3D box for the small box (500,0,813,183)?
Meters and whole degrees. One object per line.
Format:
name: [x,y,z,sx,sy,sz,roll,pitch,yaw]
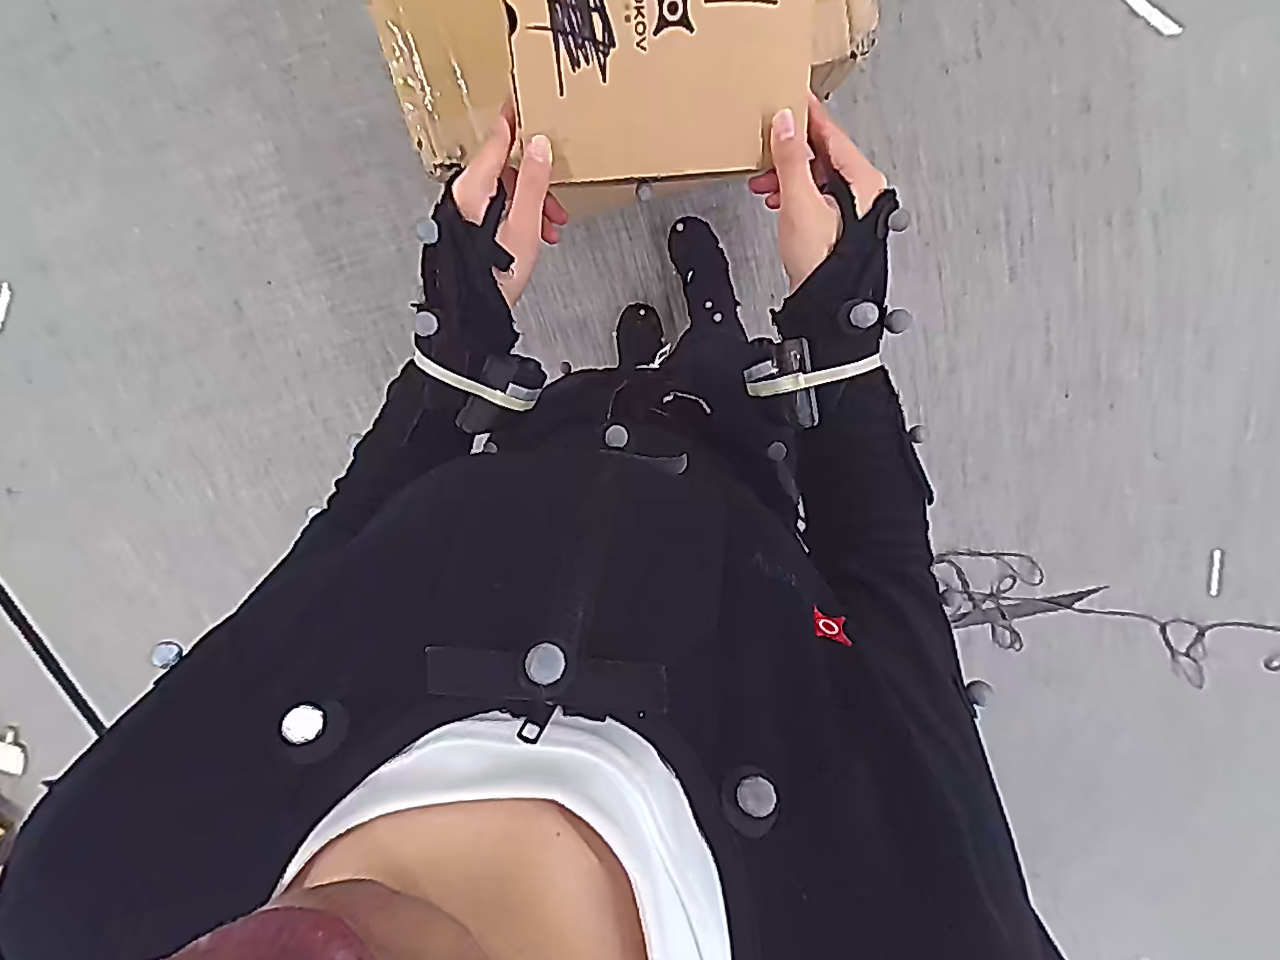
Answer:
small box: [0.010,-0.303,0.368,0.179,0.176,0.168,-3,117,2]
